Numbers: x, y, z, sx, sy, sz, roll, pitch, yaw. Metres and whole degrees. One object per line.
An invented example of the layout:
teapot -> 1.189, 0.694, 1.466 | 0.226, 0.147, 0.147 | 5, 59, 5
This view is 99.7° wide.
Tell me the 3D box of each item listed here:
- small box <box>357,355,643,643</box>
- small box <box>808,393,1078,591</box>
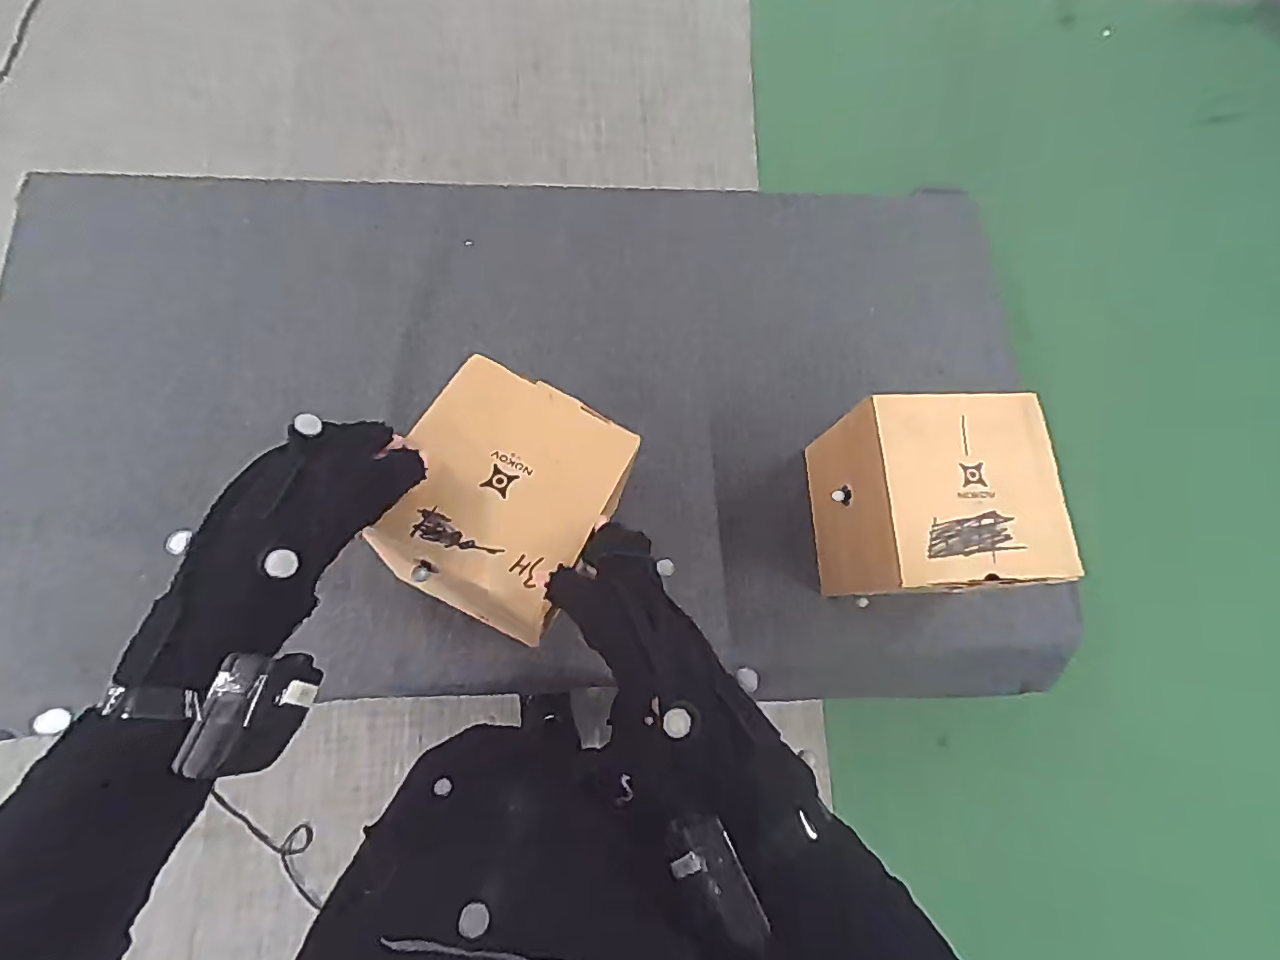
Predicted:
small box -> -0.118, 0.027, 0.500 | 0.168, 0.176, 0.179 | 26, 62, 1
small box -> 0.288, 0.023, 0.558 | 0.168, 0.176, 0.179 | -1, 75, -5
